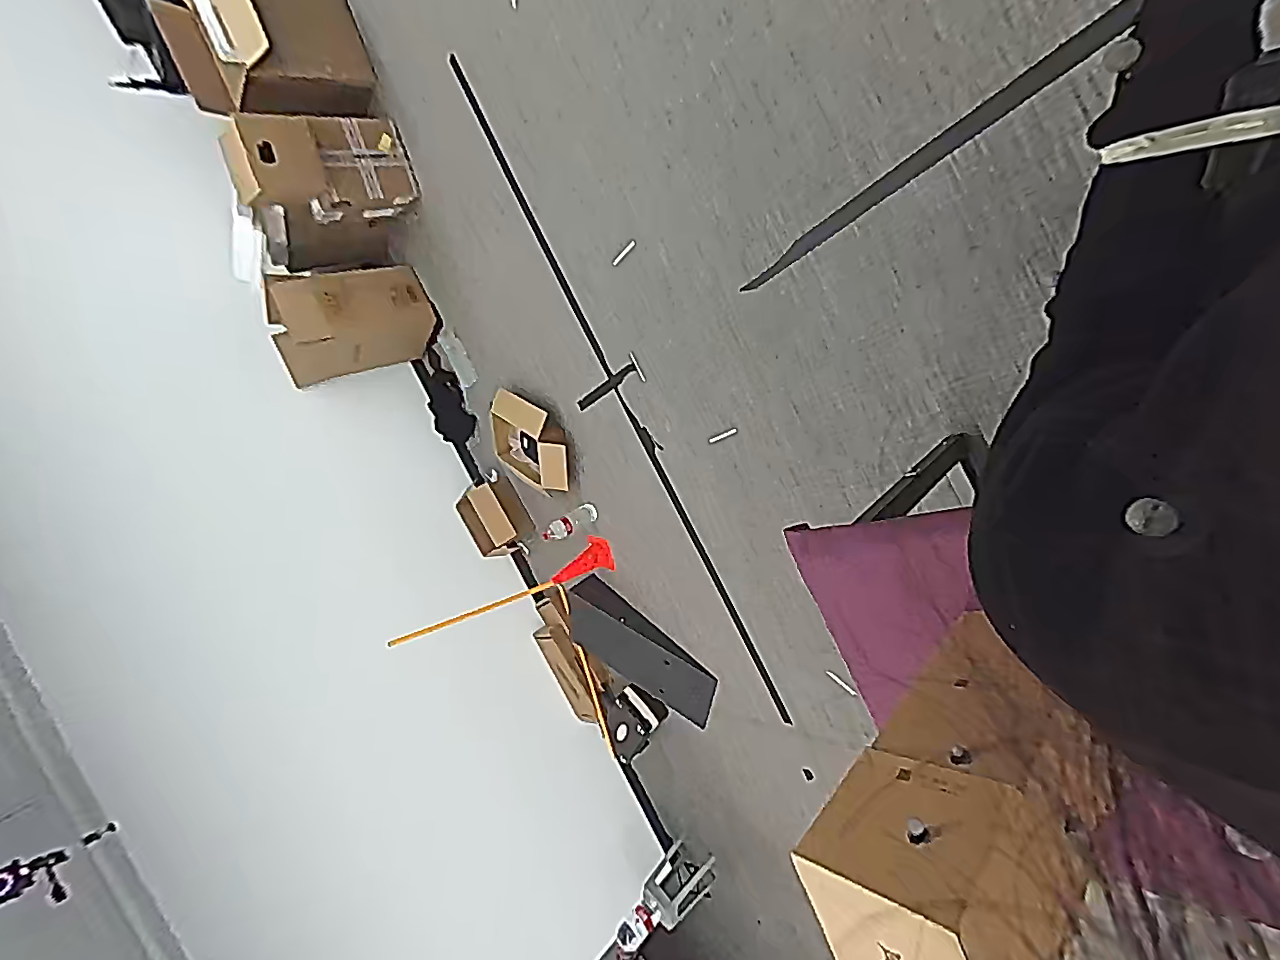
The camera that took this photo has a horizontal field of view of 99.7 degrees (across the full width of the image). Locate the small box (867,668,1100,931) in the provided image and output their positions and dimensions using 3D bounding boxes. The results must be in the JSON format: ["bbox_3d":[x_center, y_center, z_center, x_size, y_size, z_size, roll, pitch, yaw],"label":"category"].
[{"bbox_3d":[0.410,0.357,0.643,0.168,0.176,0.179,-15,102,53],"label":"small box"}]

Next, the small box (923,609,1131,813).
[{"bbox_3d":[0.530,0.298,0.739,0.168,0.176,0.179,-18,98,53],"label":"small box"}]

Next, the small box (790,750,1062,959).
[{"bbox_3d":[0.290,0.413,0.548,0.168,0.176,0.179,-15,101,53],"label":"small box"}]
